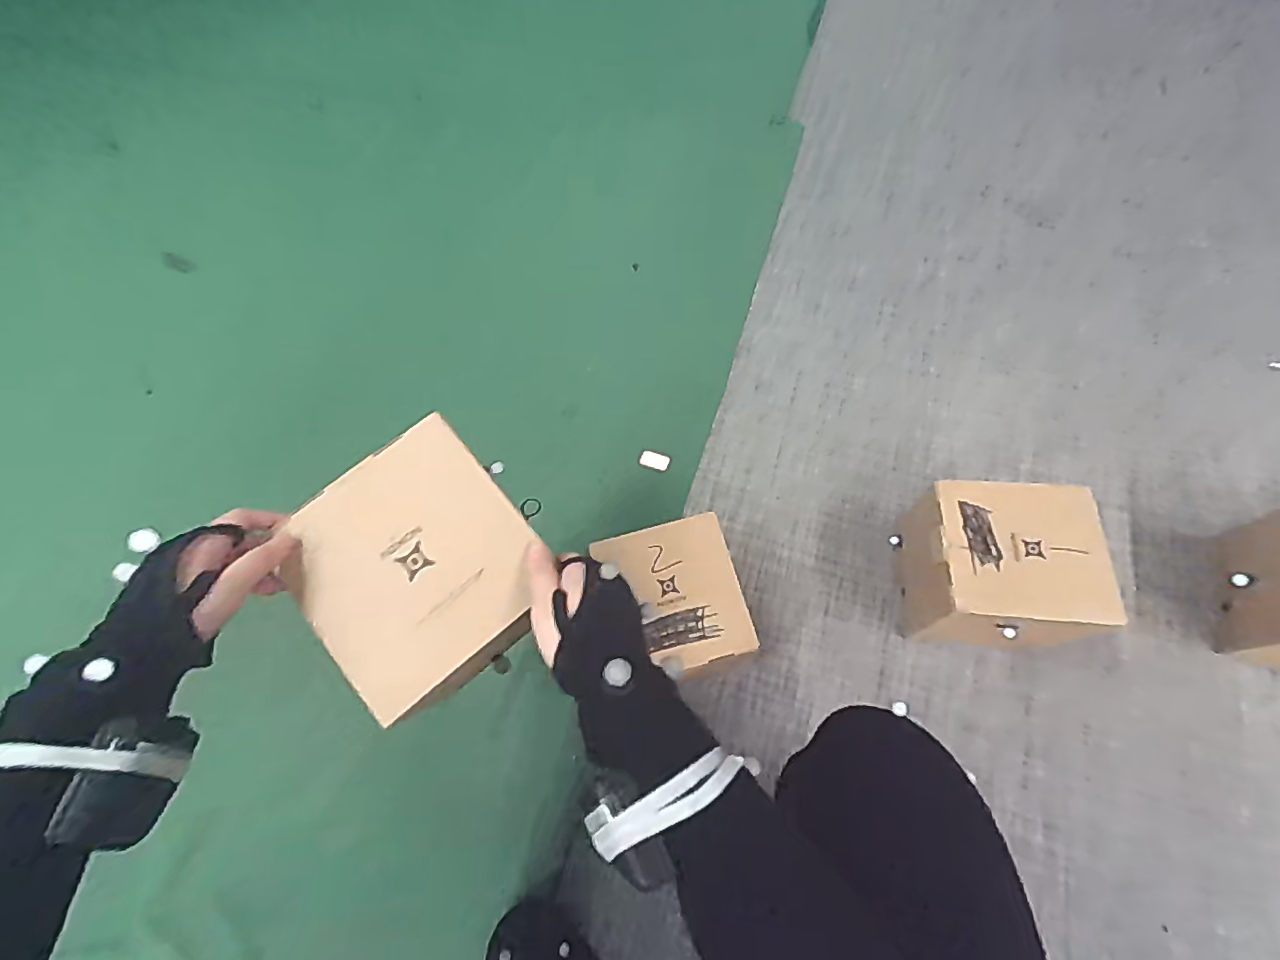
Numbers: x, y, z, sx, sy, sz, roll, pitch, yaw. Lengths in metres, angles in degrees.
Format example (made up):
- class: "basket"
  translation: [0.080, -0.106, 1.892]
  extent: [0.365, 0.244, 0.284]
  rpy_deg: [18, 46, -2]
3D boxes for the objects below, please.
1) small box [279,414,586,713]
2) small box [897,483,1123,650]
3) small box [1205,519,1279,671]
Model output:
- class: "small box"
  translation: [-0.165, 0.078, 0.489]
  extent: [0.168, 0.176, 0.179]
  rpy_deg: [-39, 79, -12]
- class: "small box"
  translation: [0.446, 0.116, 0.692]
  extent: [0.179, 0.176, 0.168]
  rpy_deg: [3, 64, 7]
- class: "small box"
  translation: [0.839, 0.140, 0.635]
  extent: [0.179, 0.176, 0.168]
  rpy_deg: [14, 65, 13]
